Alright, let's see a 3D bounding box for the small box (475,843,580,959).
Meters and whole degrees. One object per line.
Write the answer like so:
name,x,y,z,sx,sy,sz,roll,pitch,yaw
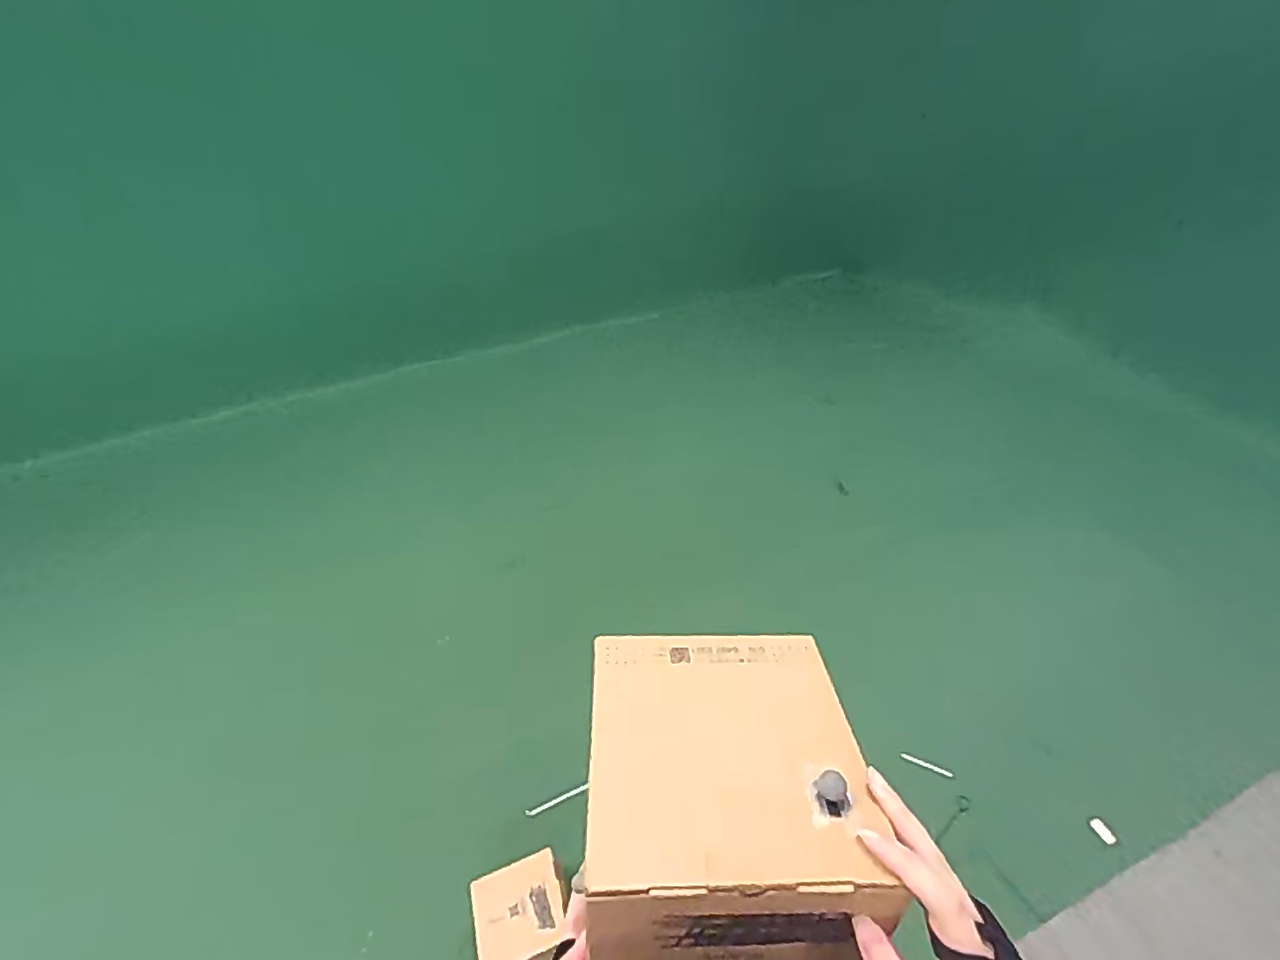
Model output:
small box,-0.233,0.912,1.146,0.179,0.176,0.168,-18,44,-11
